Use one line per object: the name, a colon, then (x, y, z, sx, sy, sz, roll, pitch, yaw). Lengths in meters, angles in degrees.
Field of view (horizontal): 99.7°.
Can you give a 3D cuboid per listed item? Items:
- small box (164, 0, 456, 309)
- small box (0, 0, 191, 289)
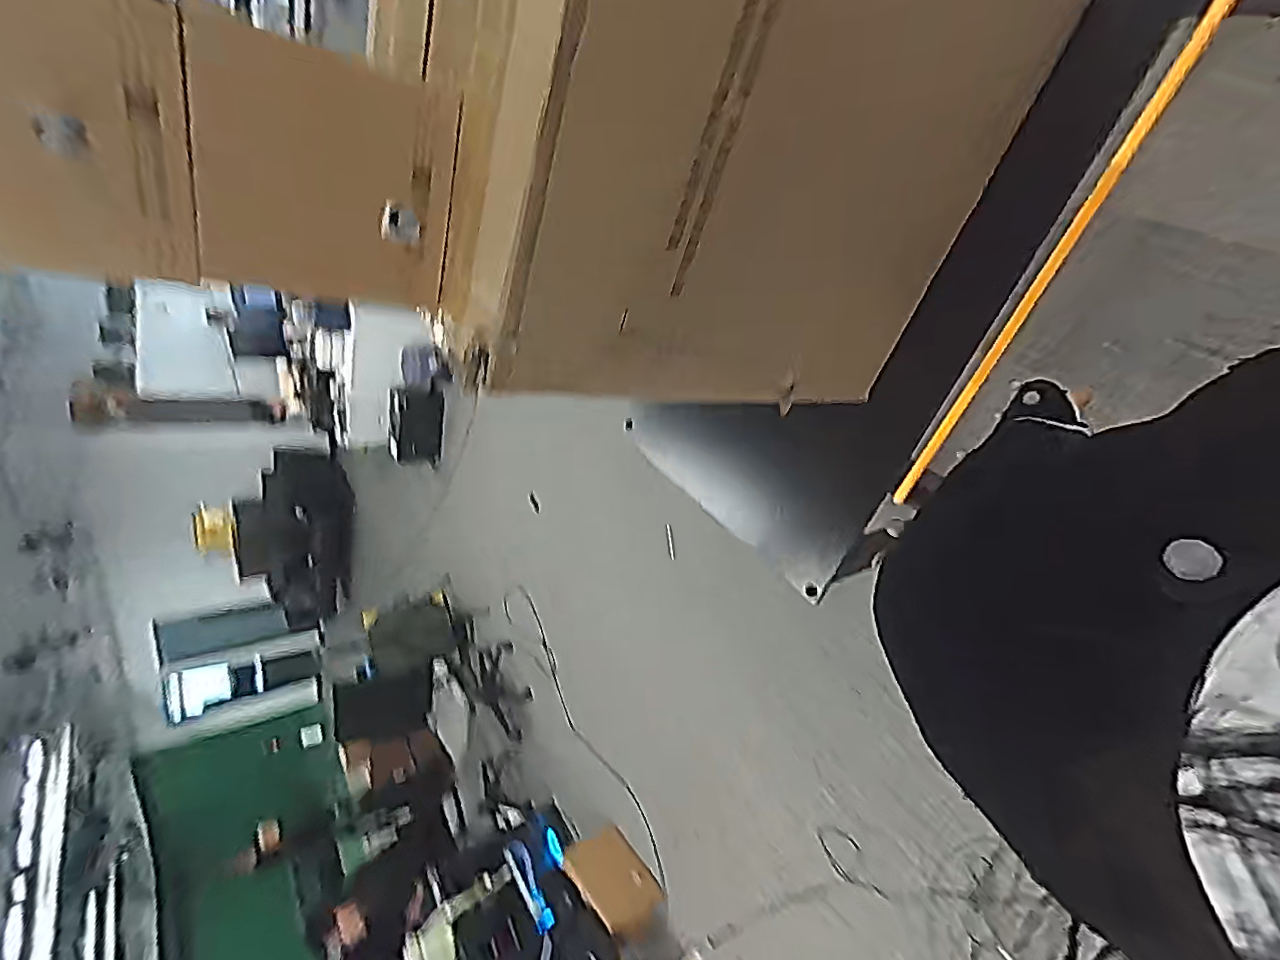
small box: (-0.272, -0.248, 0.445, 0.179, 0.176, 0.168, 36, 122, 39)
small box: (-0.396, -0.229, 0.338, 0.179, 0.176, 0.168, 40, 124, 39)
